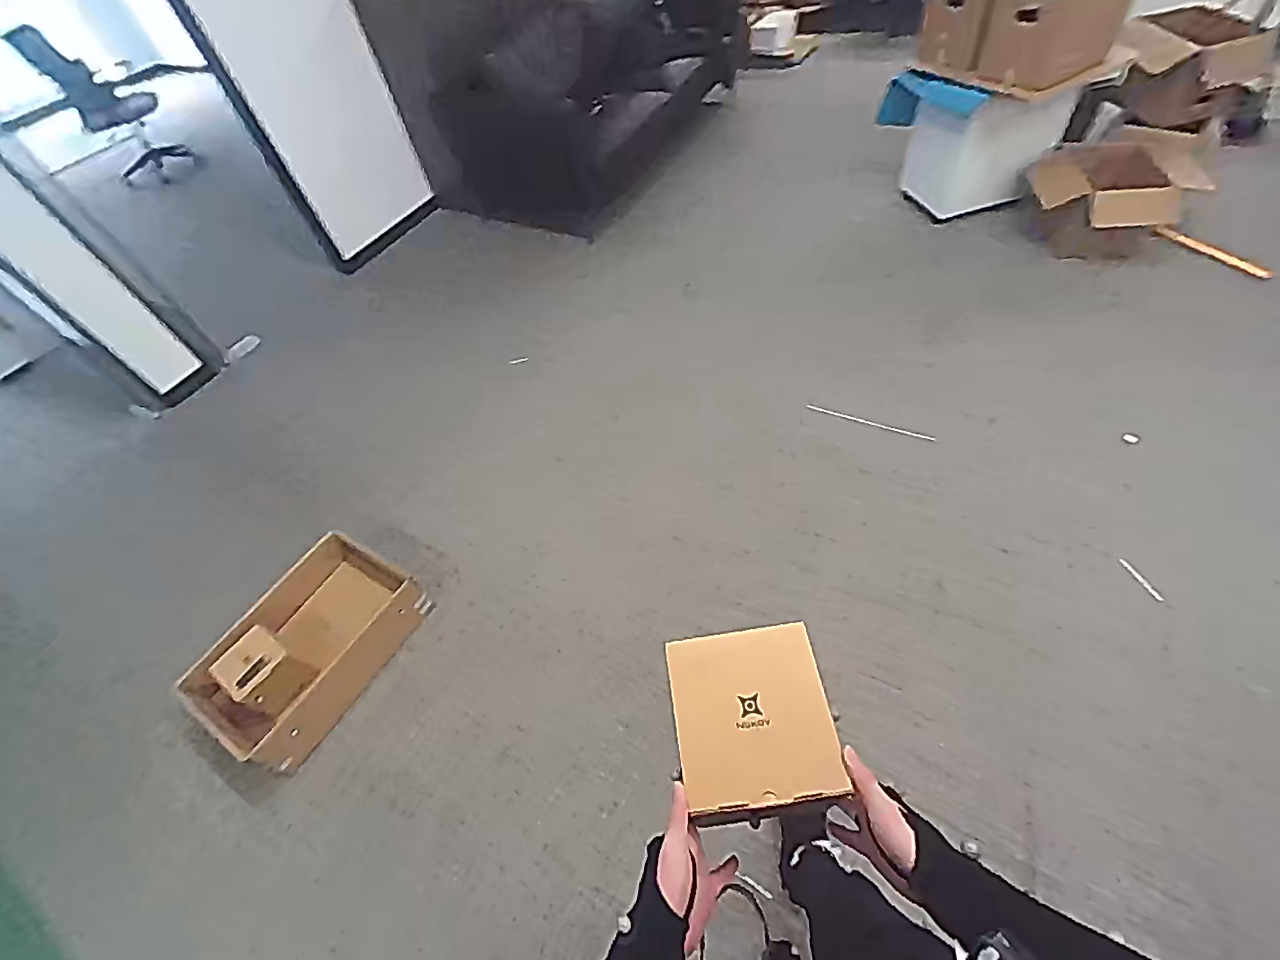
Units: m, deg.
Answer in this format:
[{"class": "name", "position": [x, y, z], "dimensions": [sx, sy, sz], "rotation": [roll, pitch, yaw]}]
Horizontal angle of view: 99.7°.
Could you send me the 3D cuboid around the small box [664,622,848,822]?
[{"class": "small box", "position": [0.124, 0.292, 0.645], "dimensions": [0.168, 0.176, 0.179], "rotation": [-10, 55, 2]}]
